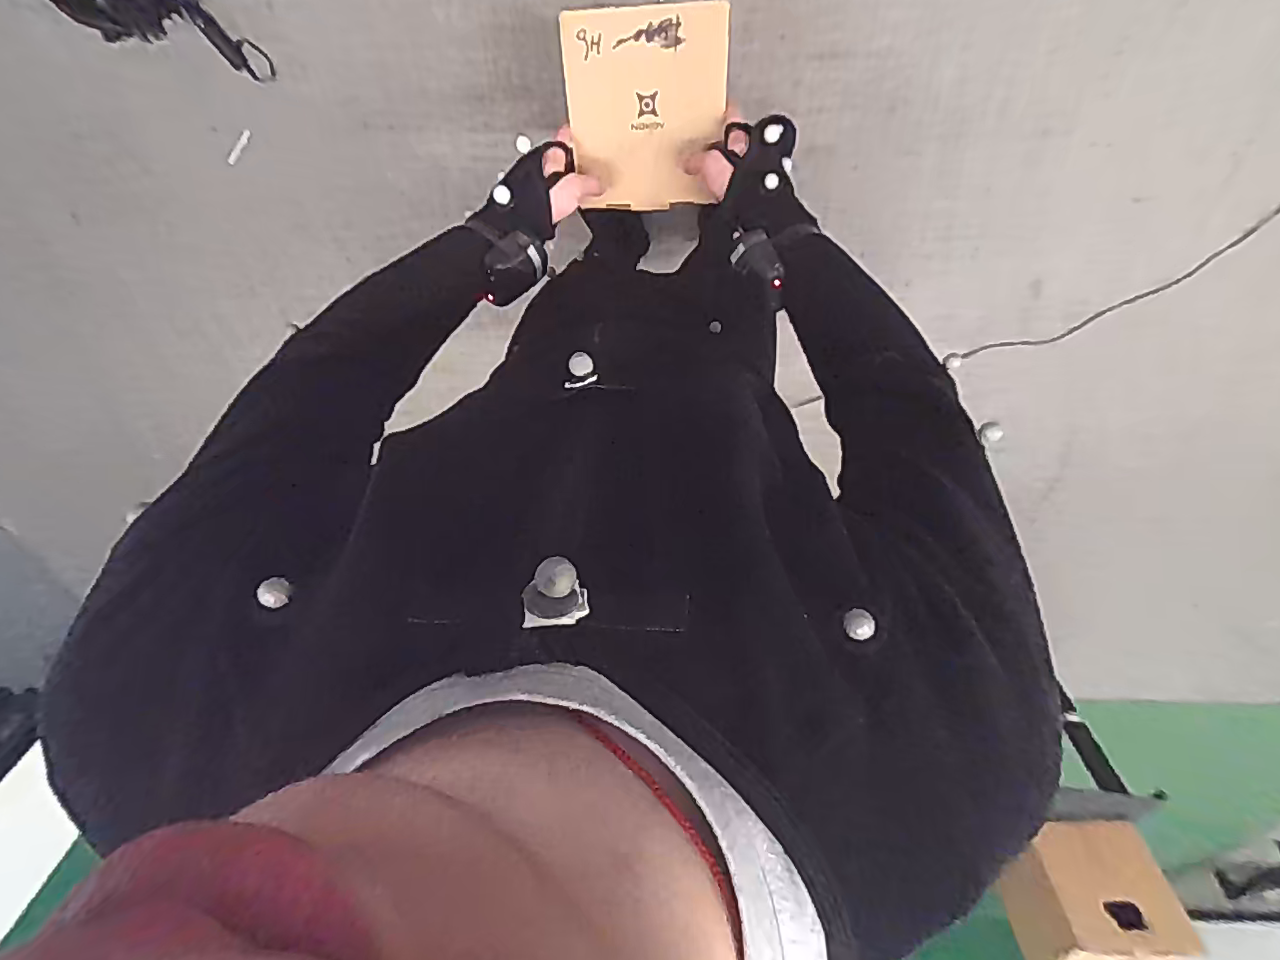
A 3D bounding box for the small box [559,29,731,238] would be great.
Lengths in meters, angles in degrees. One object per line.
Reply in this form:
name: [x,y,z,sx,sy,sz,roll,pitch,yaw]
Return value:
small box: [0.015,-0.397,0.620,0.168,0.176,0.179,0,131,6]
